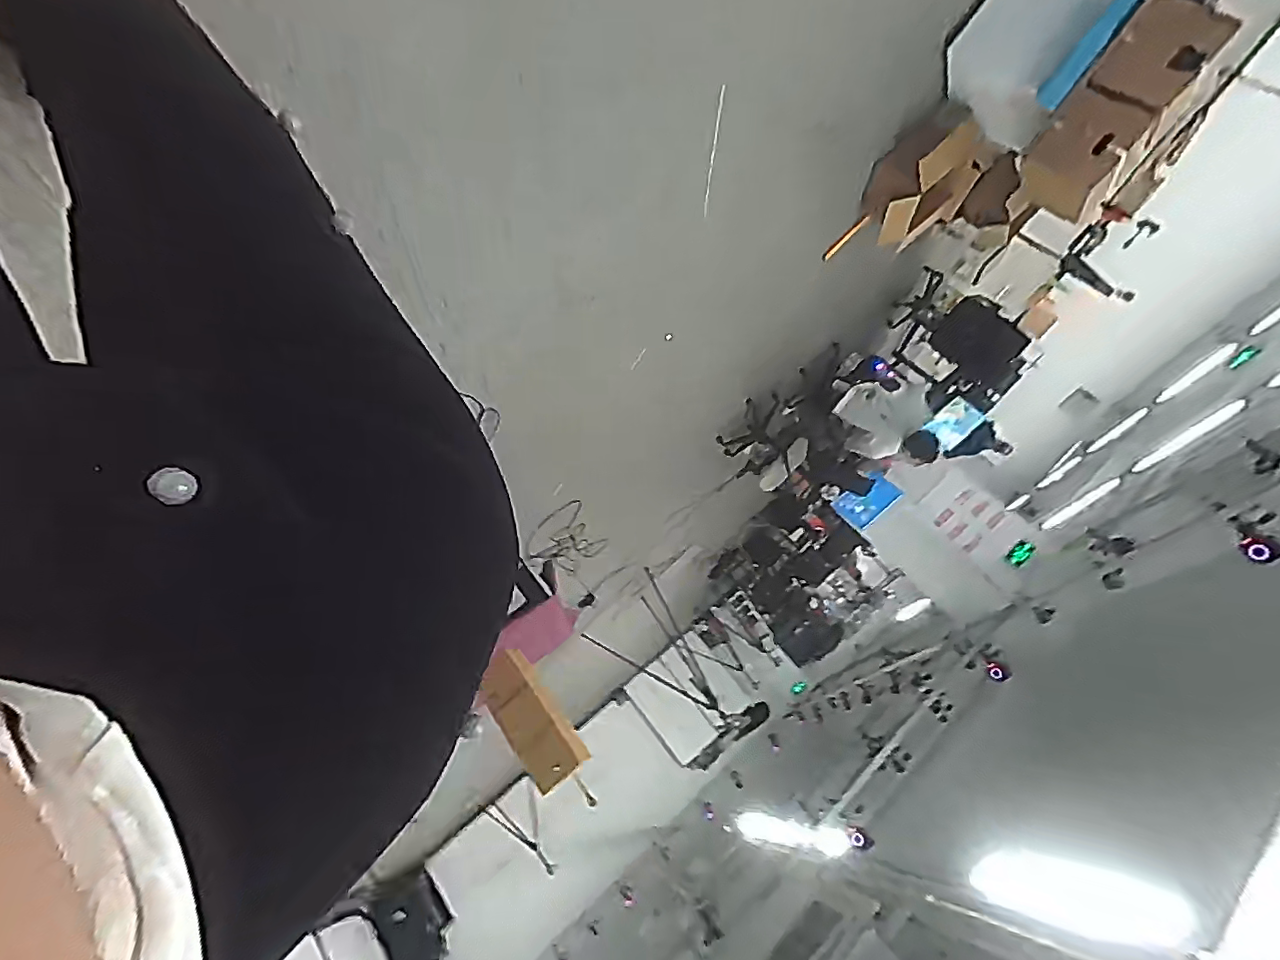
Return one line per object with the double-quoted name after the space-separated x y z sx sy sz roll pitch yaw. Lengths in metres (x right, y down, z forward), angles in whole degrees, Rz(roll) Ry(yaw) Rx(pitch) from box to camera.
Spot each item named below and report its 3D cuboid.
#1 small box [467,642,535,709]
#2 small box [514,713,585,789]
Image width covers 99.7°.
-0.540 0.750 2.076 0.179 0.176 0.168 -41 160 -8 "small box"
-0.332 0.971 1.954 0.179 0.176 0.168 -41 159 -6 "small box"
